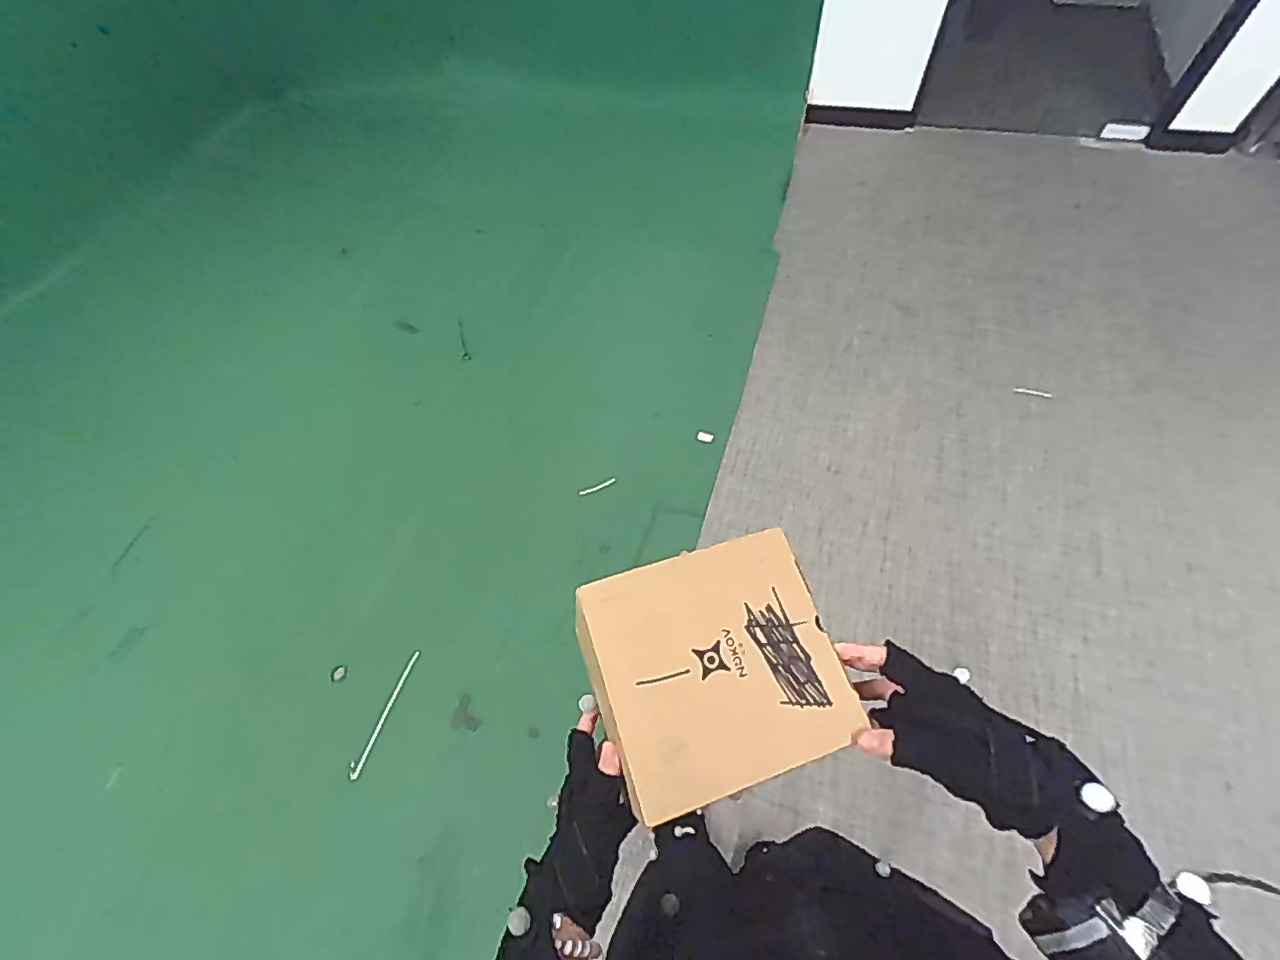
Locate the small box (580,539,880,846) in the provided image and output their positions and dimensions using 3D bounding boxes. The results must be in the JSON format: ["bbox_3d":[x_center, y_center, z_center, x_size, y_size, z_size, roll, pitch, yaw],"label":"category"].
[{"bbox_3d":[0.052,0.169,0.452,0.179,0.176,0.168,-14,67,-12],"label":"small box"}]
